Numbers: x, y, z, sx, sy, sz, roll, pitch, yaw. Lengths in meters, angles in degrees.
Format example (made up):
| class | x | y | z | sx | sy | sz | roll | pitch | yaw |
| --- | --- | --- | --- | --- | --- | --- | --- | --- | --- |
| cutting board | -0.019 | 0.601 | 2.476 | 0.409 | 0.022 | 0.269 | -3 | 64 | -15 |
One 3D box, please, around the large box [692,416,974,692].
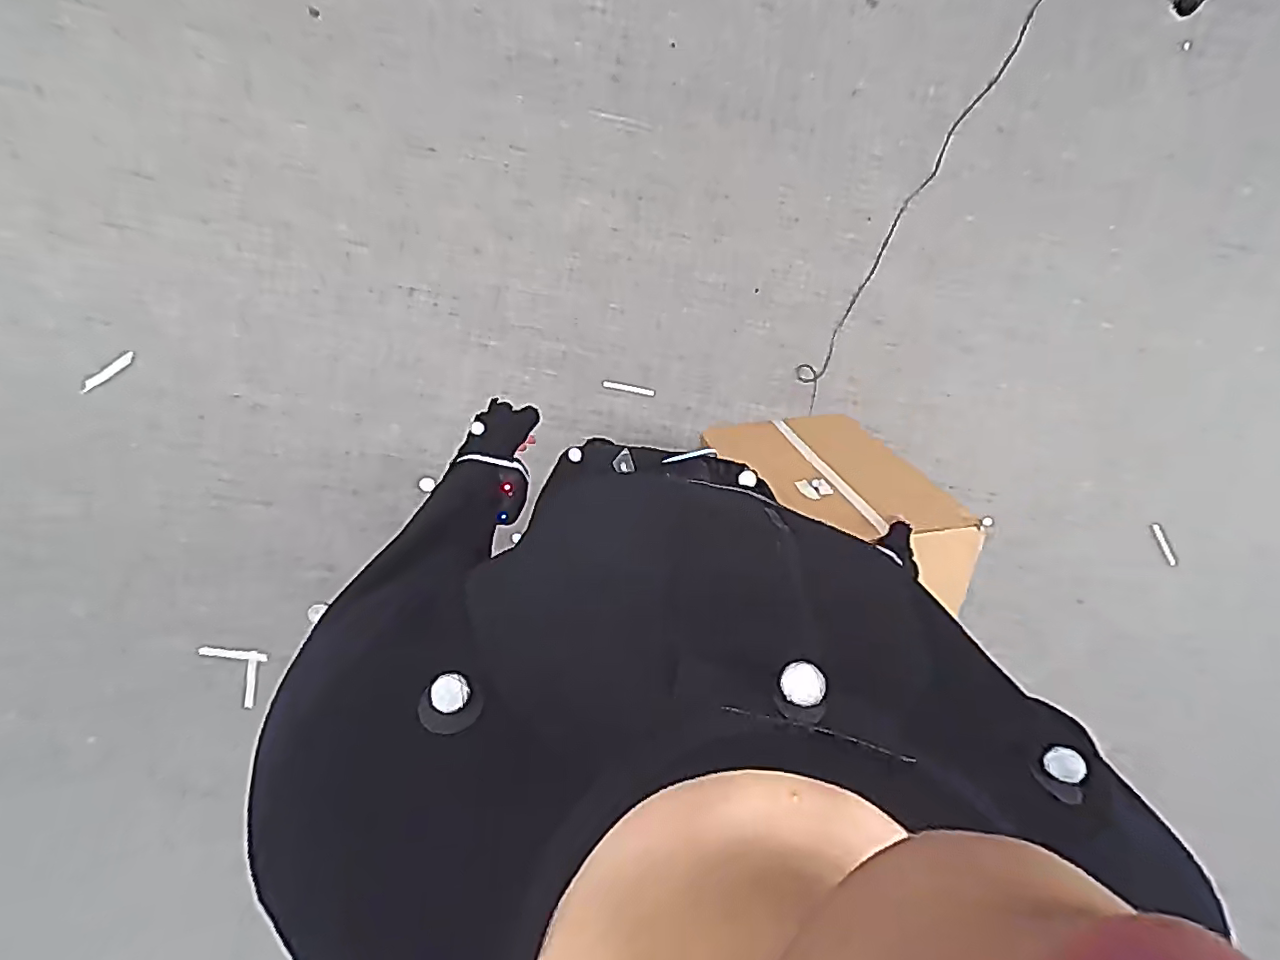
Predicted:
| class | x | y | z | sx | sy | sz | roll | pitch | yaw |
| --- | --- | --- | --- | --- | --- | --- | --- | --- | --- |
| large box | 0.301 | 0.112 | 1.003 | 0.320 | 0.408 | 0.320 | -7 | 122 | -8 |
